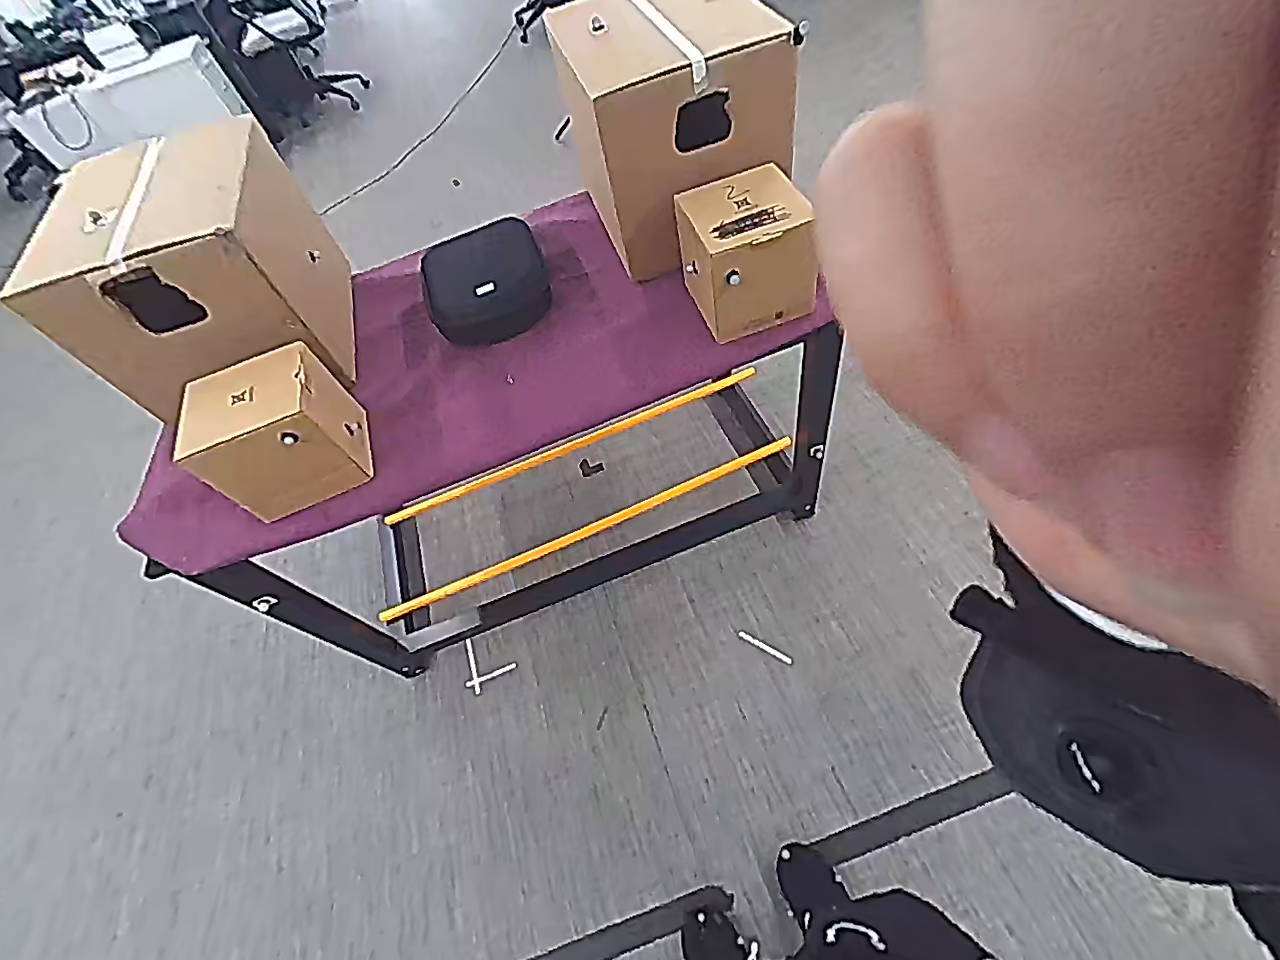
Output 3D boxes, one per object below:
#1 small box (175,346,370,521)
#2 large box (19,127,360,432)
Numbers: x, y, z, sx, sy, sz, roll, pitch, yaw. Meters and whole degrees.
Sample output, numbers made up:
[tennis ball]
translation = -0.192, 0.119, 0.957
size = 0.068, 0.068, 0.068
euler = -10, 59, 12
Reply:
[small box]
translation = -0.544, -0.065, 0.822
size = 0.179, 0.176, 0.168
euler = -24, 54, -6
[large box]
translation = -0.739, -0.344, 0.963
size = 0.320, 0.320, 0.408
euler = -21, 57, -4
